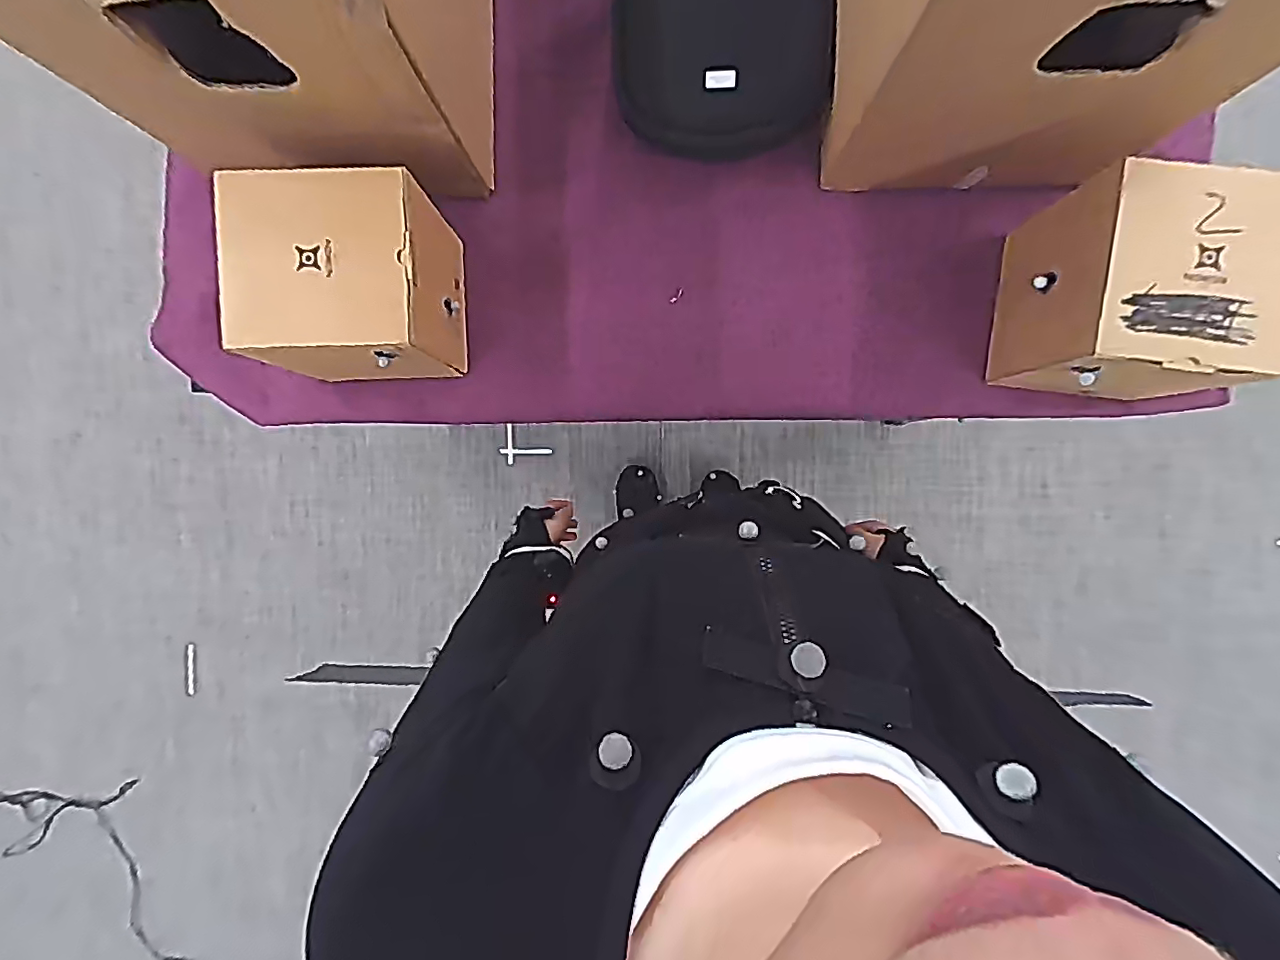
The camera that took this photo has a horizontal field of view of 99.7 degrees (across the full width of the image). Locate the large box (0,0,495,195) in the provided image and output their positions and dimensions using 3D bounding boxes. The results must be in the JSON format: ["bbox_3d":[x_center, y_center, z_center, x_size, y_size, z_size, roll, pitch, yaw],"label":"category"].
[{"bbox_3d":[-0.331,-0.540,0.505,0.320,0.320,0.408,0,95,1],"label":"large box"}]
